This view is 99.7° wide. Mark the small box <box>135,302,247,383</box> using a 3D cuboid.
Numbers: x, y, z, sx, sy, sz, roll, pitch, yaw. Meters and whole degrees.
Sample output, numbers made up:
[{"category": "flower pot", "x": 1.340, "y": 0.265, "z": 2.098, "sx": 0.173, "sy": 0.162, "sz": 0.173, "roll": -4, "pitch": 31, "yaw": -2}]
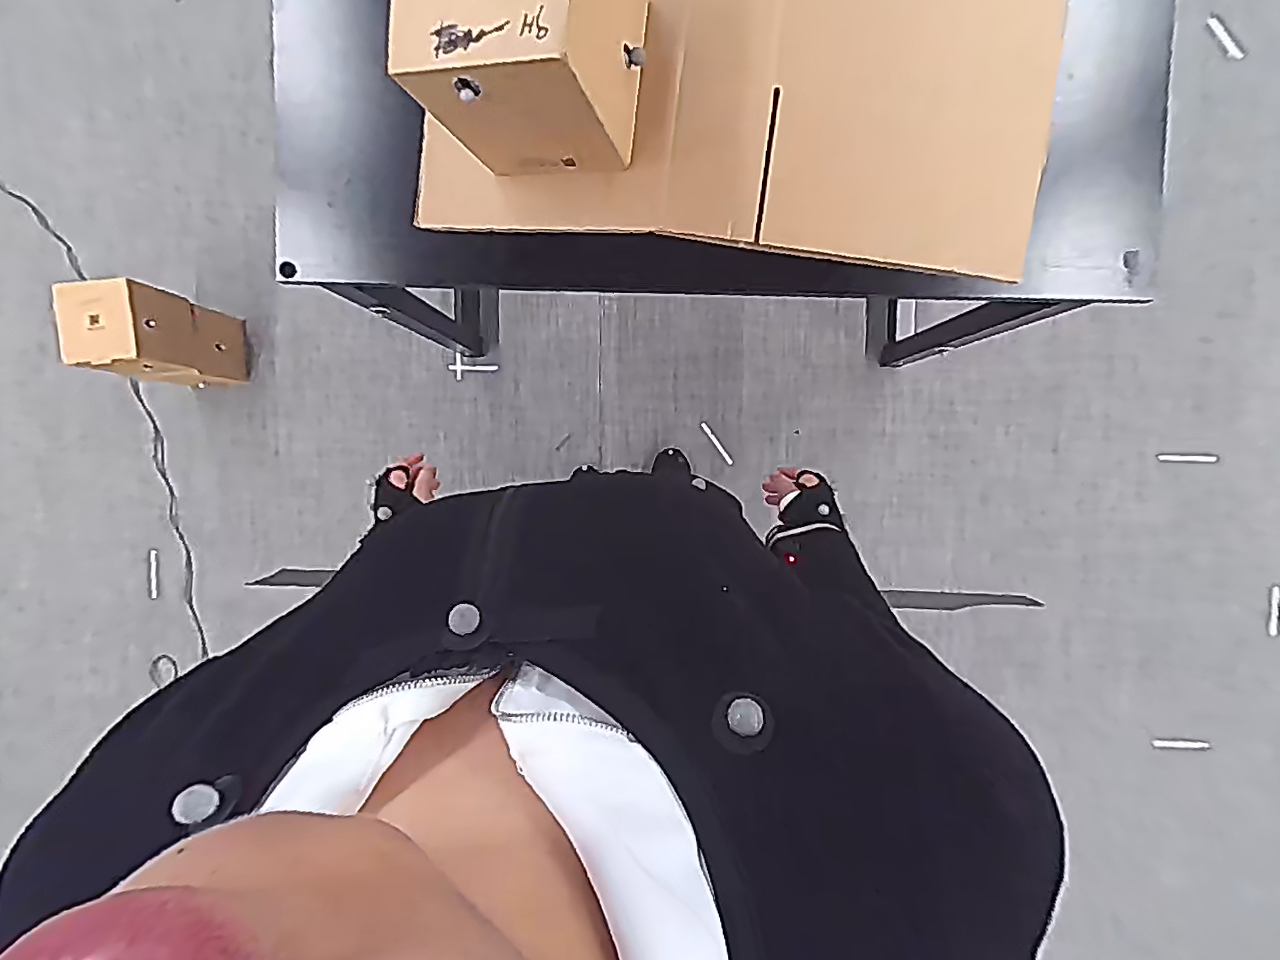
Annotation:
[{"category": "small box", "x": -1.166, "y": -0.353, "z": 1.407, "sx": 0.168, "sy": 0.176, "sz": 0.179, "roll": -2, "pitch": 94, "yaw": 1}]

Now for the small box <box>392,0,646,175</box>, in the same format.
[{"category": "small box", "x": -0.098, "y": -0.418, "z": 0.507, "sx": 0.168, "sy": 0.176, "sz": 0.179, "roll": 8, "pitch": 93, "yaw": 16}]

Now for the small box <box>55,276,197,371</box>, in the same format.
[{"category": "small box", "x": -1.170, "y": -0.350, "z": 1.245, "sx": 0.168, "sy": 0.176, "sz": 0.179, "roll": -5, "pitch": 92, "yaw": 0}]
